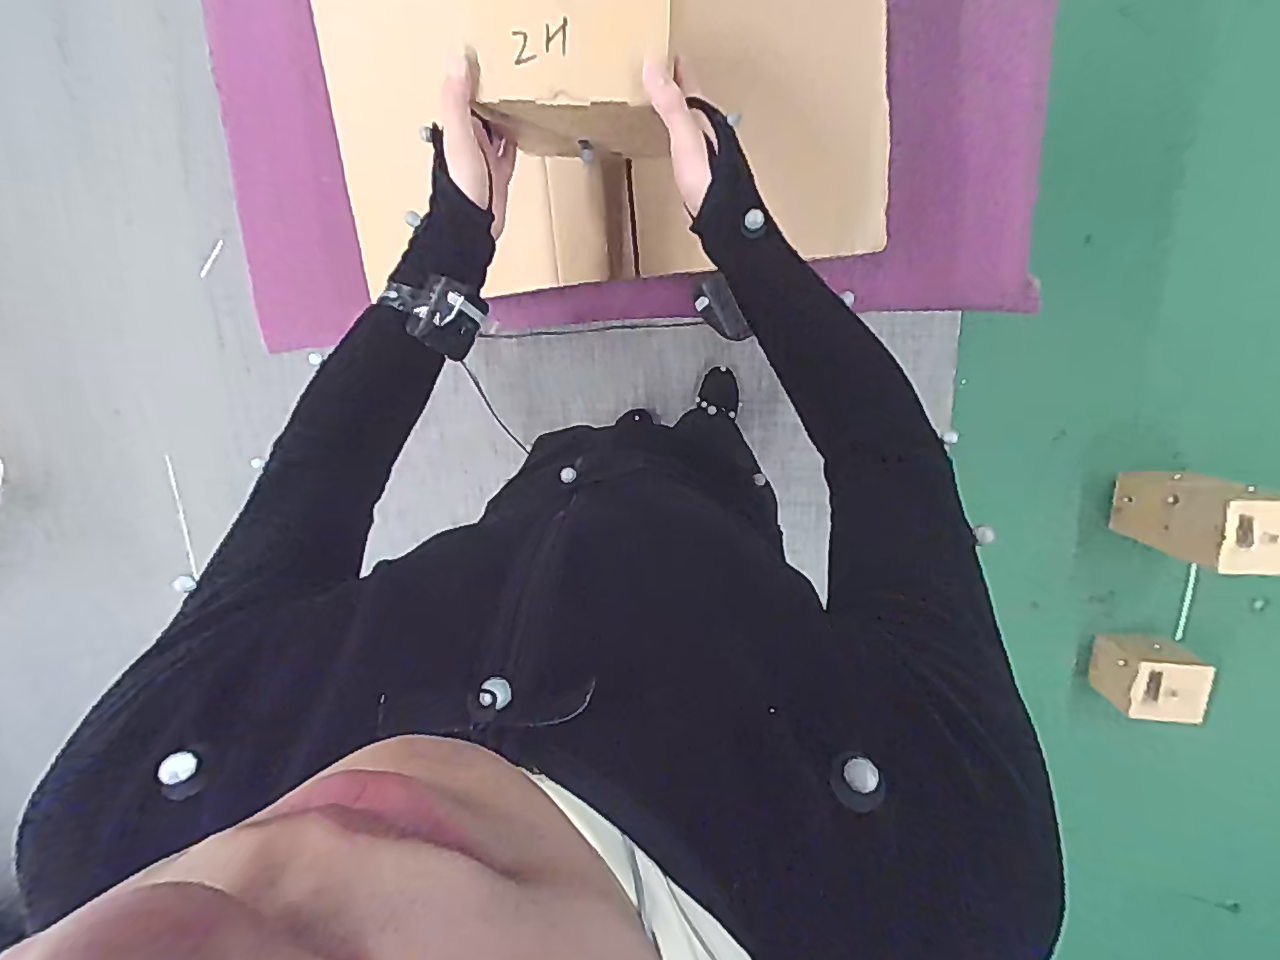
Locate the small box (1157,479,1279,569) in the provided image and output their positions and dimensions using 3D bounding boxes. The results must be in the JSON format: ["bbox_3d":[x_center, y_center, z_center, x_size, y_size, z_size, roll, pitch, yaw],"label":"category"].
[{"bbox_3d":[1.345,0.095,1.232,0.179,0.176,0.168,0,102,7],"label":"small box"}]

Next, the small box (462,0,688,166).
[{"bbox_3d":[-0.045,-0.398,0.476,0.168,0.176,0.179,5,109,5],"label":"small box"}]

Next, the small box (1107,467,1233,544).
[{"bbox_3d":[1.367,0.061,1.391,0.179,0.176,0.168,0,102,8],"label":"small box"}]
